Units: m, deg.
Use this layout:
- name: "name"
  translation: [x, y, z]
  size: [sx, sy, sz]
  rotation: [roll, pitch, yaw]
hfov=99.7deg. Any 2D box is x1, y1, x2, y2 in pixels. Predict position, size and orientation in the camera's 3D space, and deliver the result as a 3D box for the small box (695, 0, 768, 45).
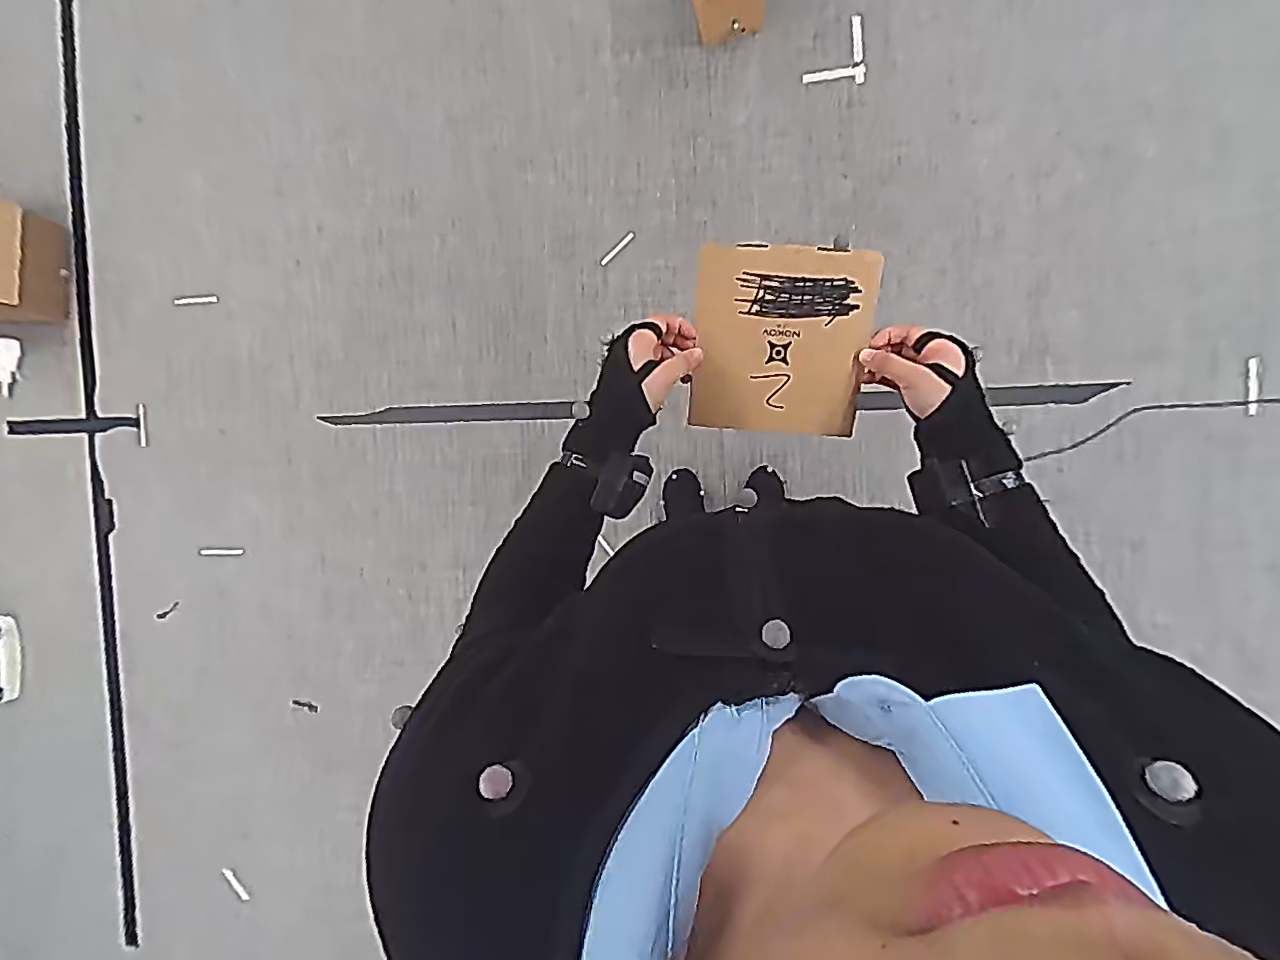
- name: "small box"
  translation: [0.224, -1.268, 1.368]
  size: [0.168, 0.176, 0.179]
  rotation: [-14, 90, 9]
